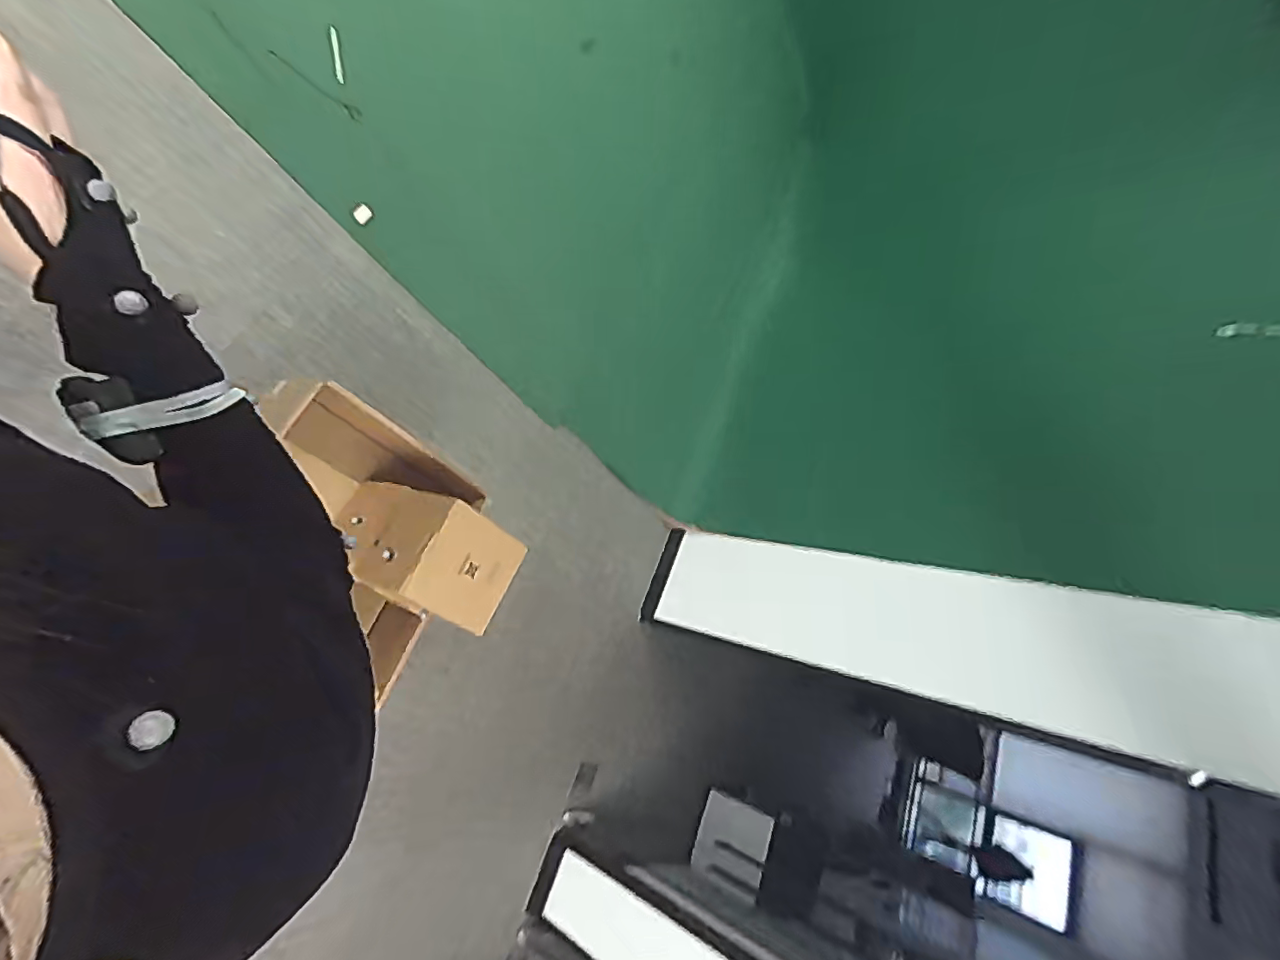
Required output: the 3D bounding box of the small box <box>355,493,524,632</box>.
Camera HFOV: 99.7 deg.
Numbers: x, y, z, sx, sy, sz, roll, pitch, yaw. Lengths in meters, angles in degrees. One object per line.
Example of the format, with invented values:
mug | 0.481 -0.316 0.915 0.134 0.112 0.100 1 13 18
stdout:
small box | -0.342 0.135 0.923 0.179 0.176 0.168 49 58 -43
